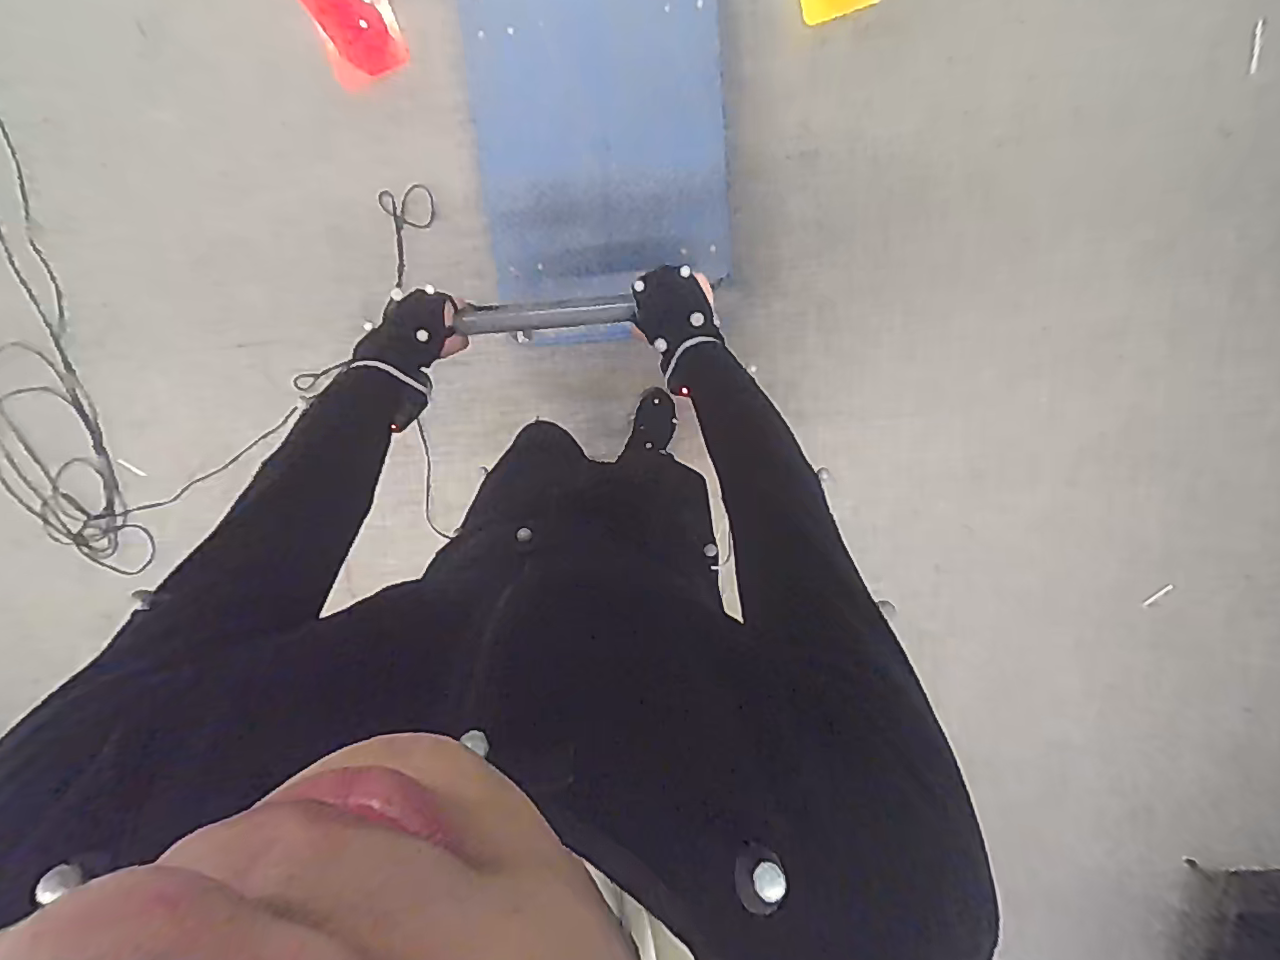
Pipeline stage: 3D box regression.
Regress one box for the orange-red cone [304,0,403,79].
[{"bbox_3d":[-0.722,-1.097,1.190,0.199,0.360,0.198,-18,102,9],"label":"orange-red cone"}]
